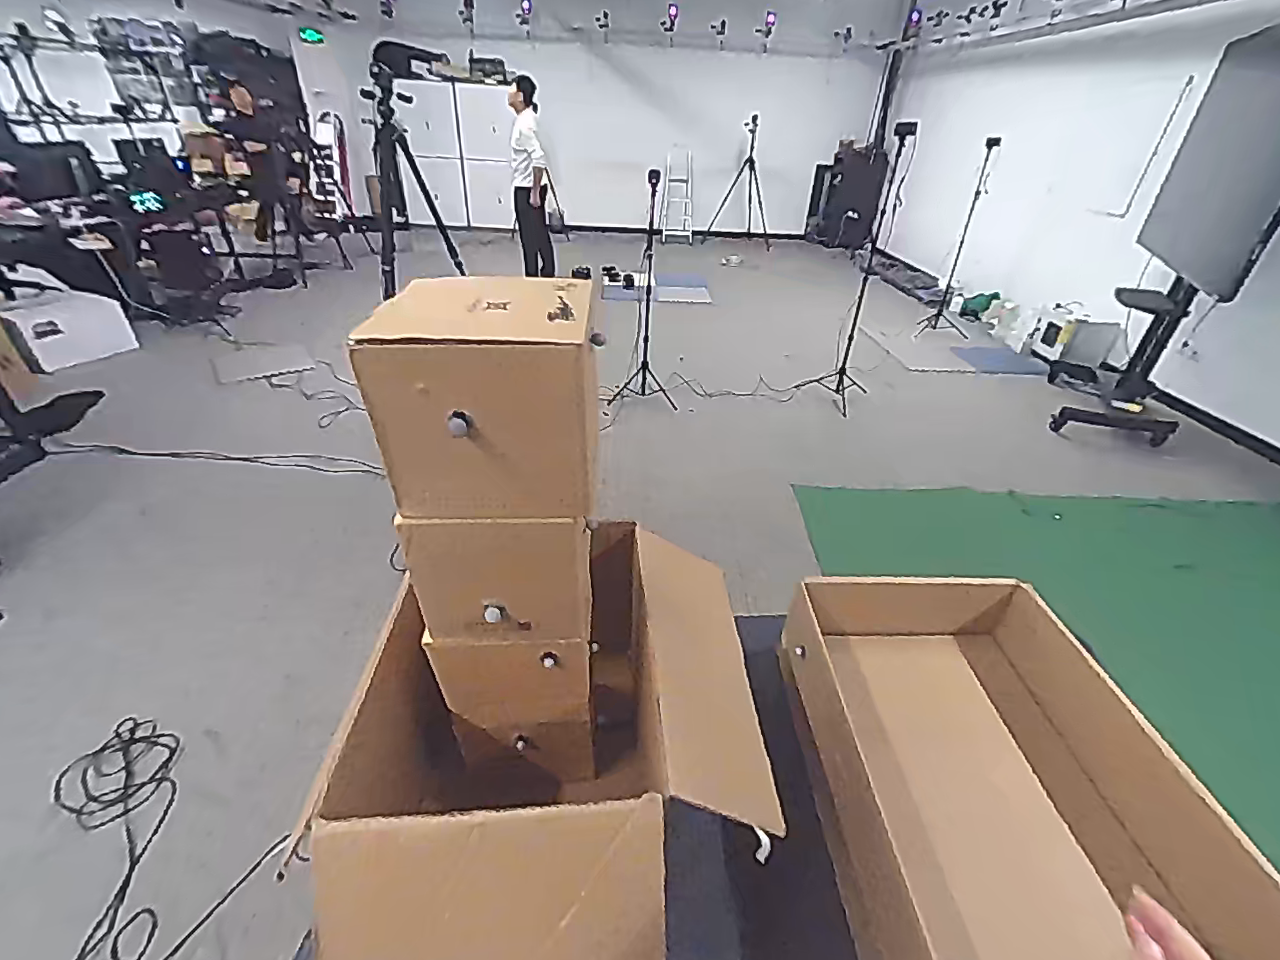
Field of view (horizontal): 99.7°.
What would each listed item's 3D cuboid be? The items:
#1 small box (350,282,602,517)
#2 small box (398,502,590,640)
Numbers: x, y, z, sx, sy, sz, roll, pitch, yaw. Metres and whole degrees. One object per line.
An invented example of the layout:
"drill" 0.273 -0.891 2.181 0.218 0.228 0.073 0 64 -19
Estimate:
"small box" -0.130 -0.077 0.509 0.179 0.176 0.168 0 37 -2
"small box" -0.143 0.055 0.605 0.168 0.176 0.179 0 37 -2
